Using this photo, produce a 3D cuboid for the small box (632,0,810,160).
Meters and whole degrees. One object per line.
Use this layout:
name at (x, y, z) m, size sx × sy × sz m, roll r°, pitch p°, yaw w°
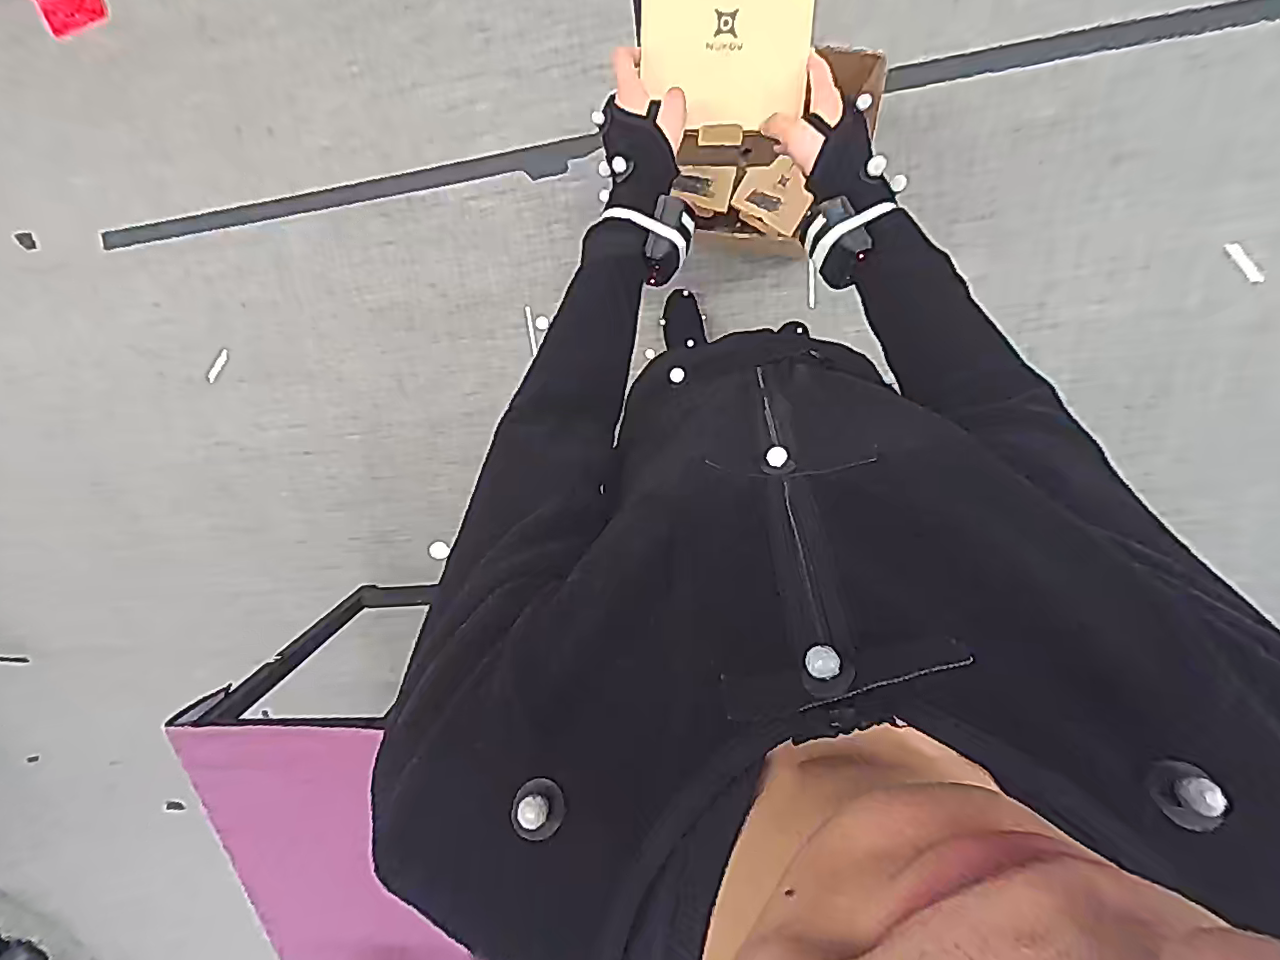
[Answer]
small box at (0.080, -0.463, 0.588) m, size 0.168 × 0.176 × 0.179 m, roll 2°, pitch 110°, yaw 1°
